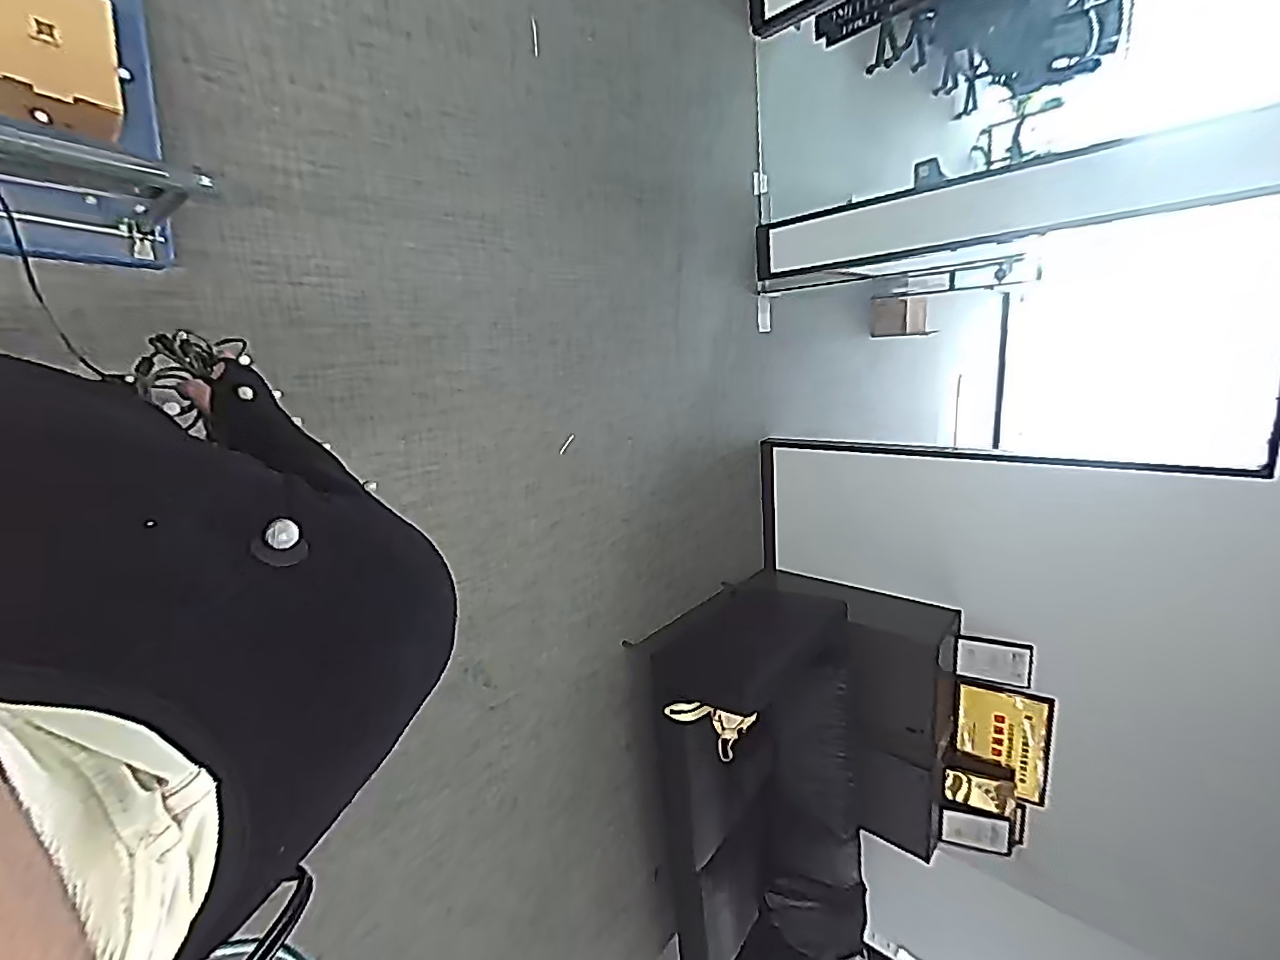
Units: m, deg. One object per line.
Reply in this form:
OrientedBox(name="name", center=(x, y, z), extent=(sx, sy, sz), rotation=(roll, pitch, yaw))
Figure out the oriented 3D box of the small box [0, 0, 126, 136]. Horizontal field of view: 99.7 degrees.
OrientedBox(name="small box", center=(-0.991, -0.718, 0.904), extent=(0.168, 0.176, 0.179), rotation=(-9, 104, -47))
